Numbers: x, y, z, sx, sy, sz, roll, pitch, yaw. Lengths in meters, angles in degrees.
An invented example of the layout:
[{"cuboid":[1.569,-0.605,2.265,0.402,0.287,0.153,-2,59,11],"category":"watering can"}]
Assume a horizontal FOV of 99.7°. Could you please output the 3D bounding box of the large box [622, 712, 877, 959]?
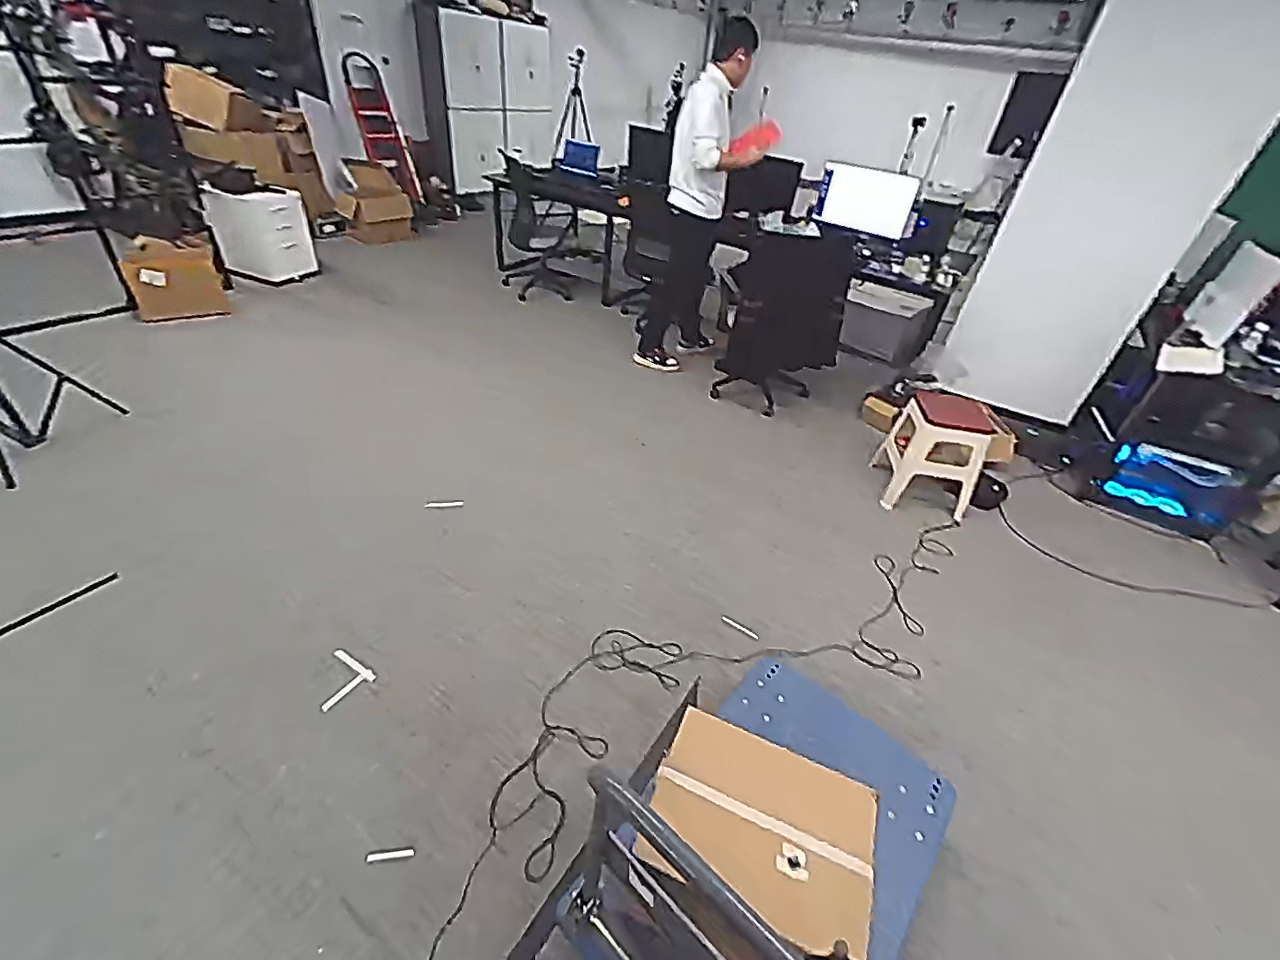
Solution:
[{"cuboid":[0.213,0.756,1.095,0.408,0.320,0.320,19,39,15],"category":"large box"}]
